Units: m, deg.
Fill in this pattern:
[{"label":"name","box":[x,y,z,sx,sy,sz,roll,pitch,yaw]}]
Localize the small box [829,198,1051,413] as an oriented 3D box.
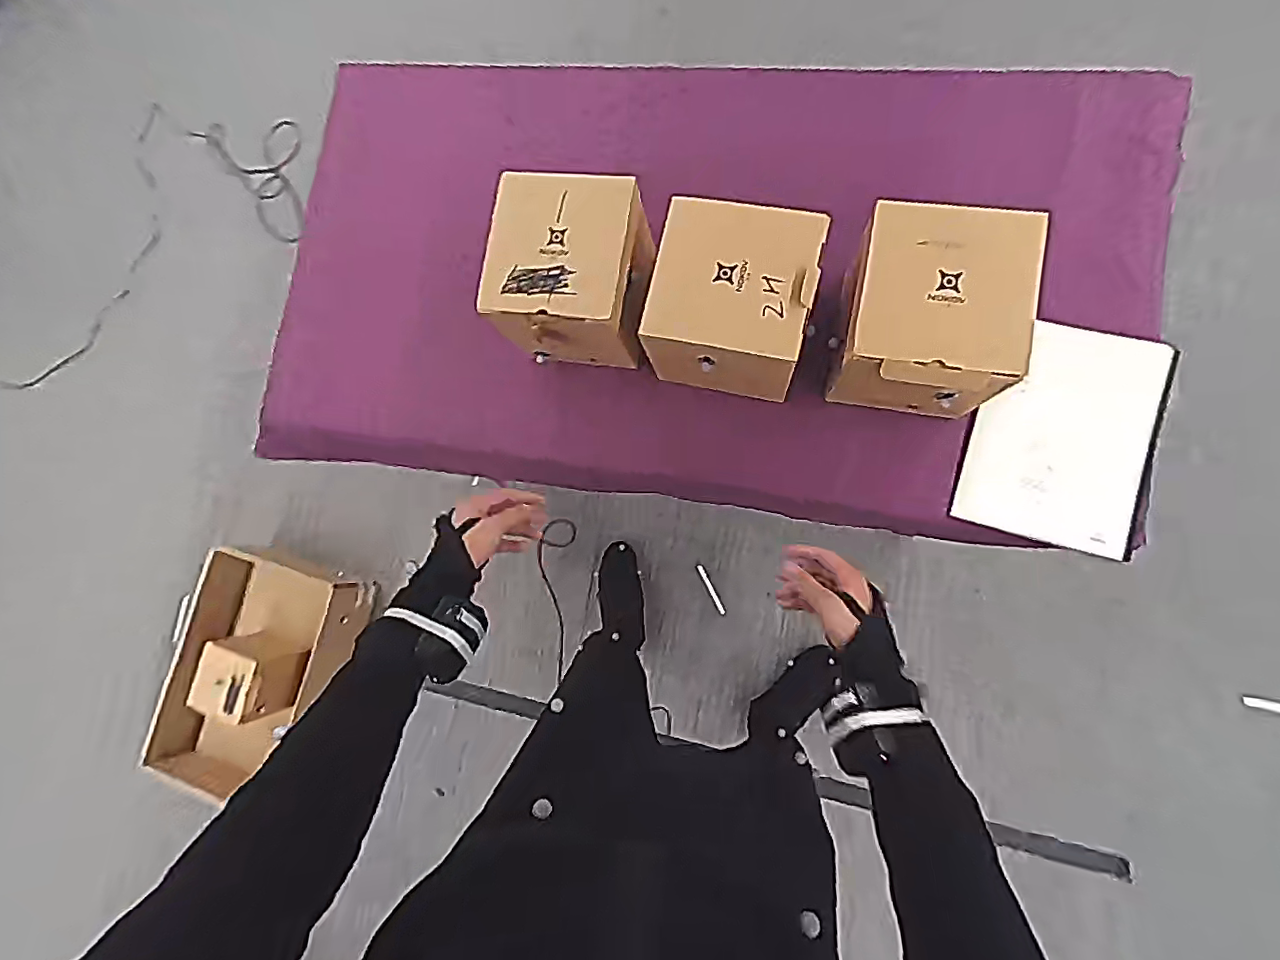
[{"label":"small box","box":[0.323,-0.186,0.619,0.168,0.176,0.179,11,84,10]}]
